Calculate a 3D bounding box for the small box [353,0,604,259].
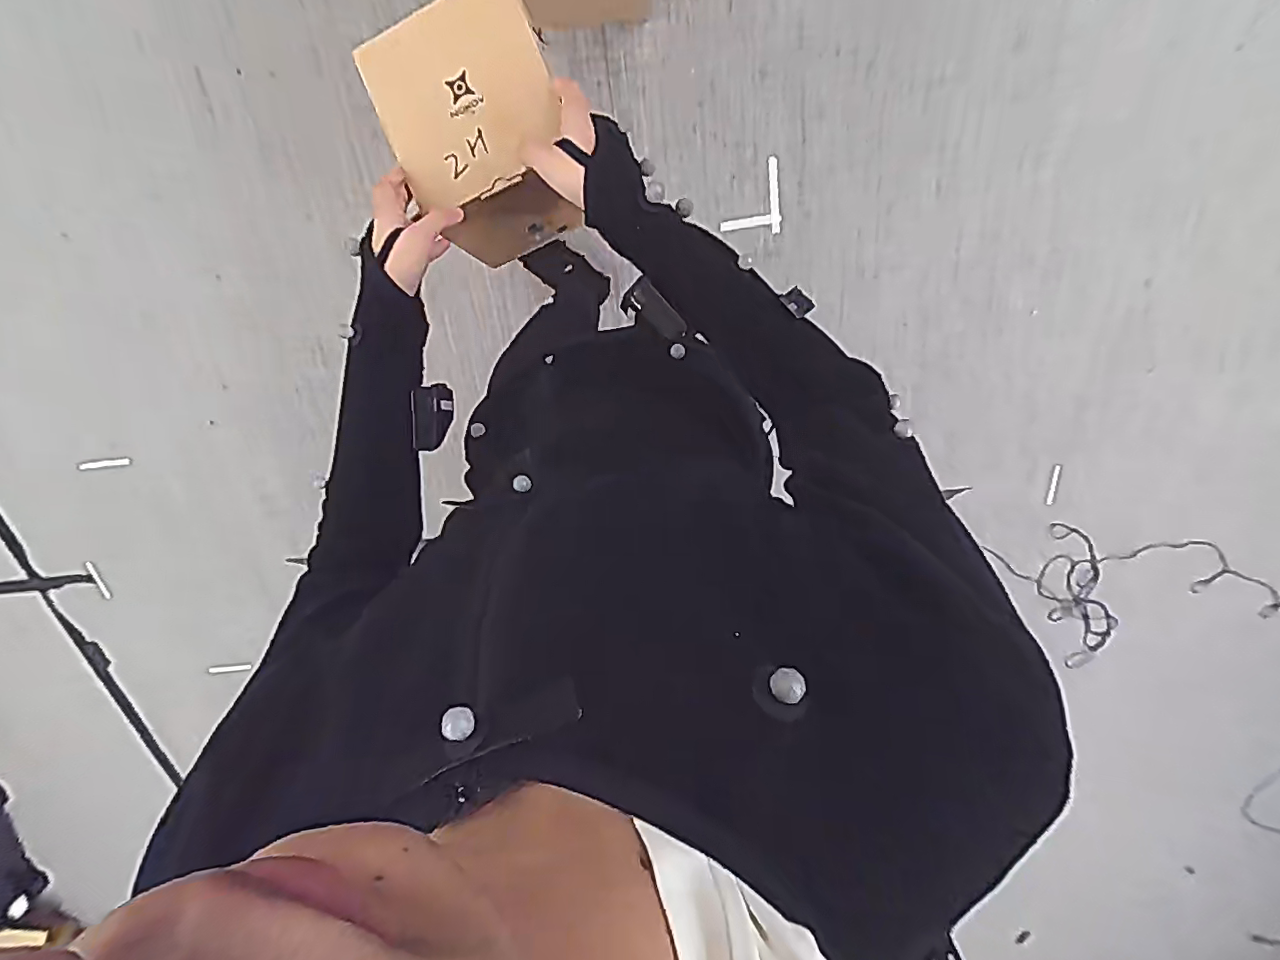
[{"bbox_3d":[-0.153,-0.367,0.573,0.168,0.176,0.179,-21,95,9],"label":"small box"}]
